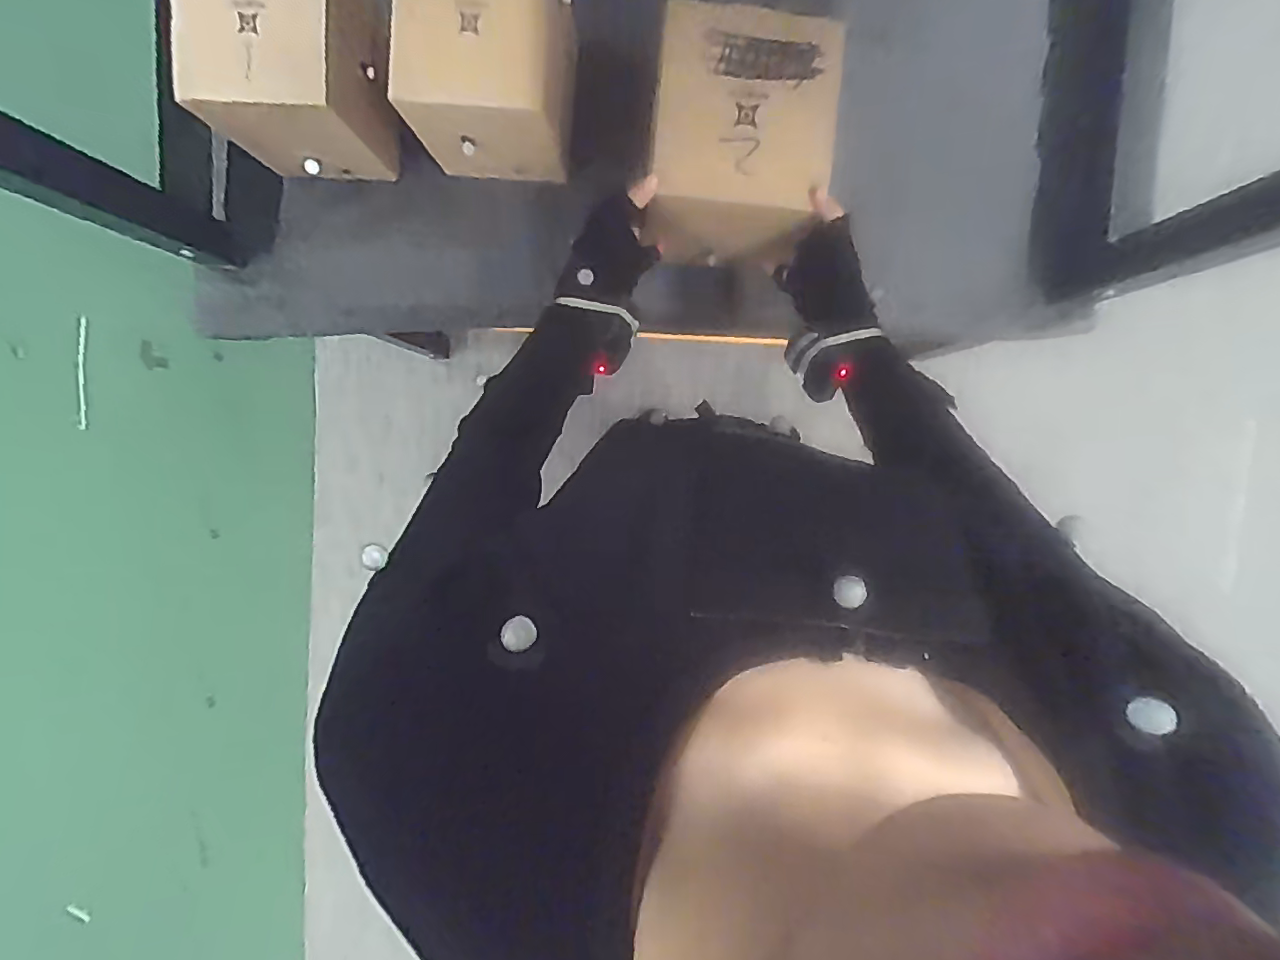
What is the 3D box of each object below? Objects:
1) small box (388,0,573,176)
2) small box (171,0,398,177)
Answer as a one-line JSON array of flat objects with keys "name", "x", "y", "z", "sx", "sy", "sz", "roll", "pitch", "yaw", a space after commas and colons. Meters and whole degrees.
[{"name": "small box", "x": -0.176, "y": -0.489, "z": 0.640, "sx": 0.168, "sy": 0.176, "sz": 0.179, "roll": 4, "pitch": 94, "yaw": 1}, {"name": "small box", "x": -0.403, "y": -0.494, "z": 0.641, "sx": 0.168, "sy": 0.176, "sz": 0.179, "roll": 3, "pitch": 95, "yaw": 1}]
